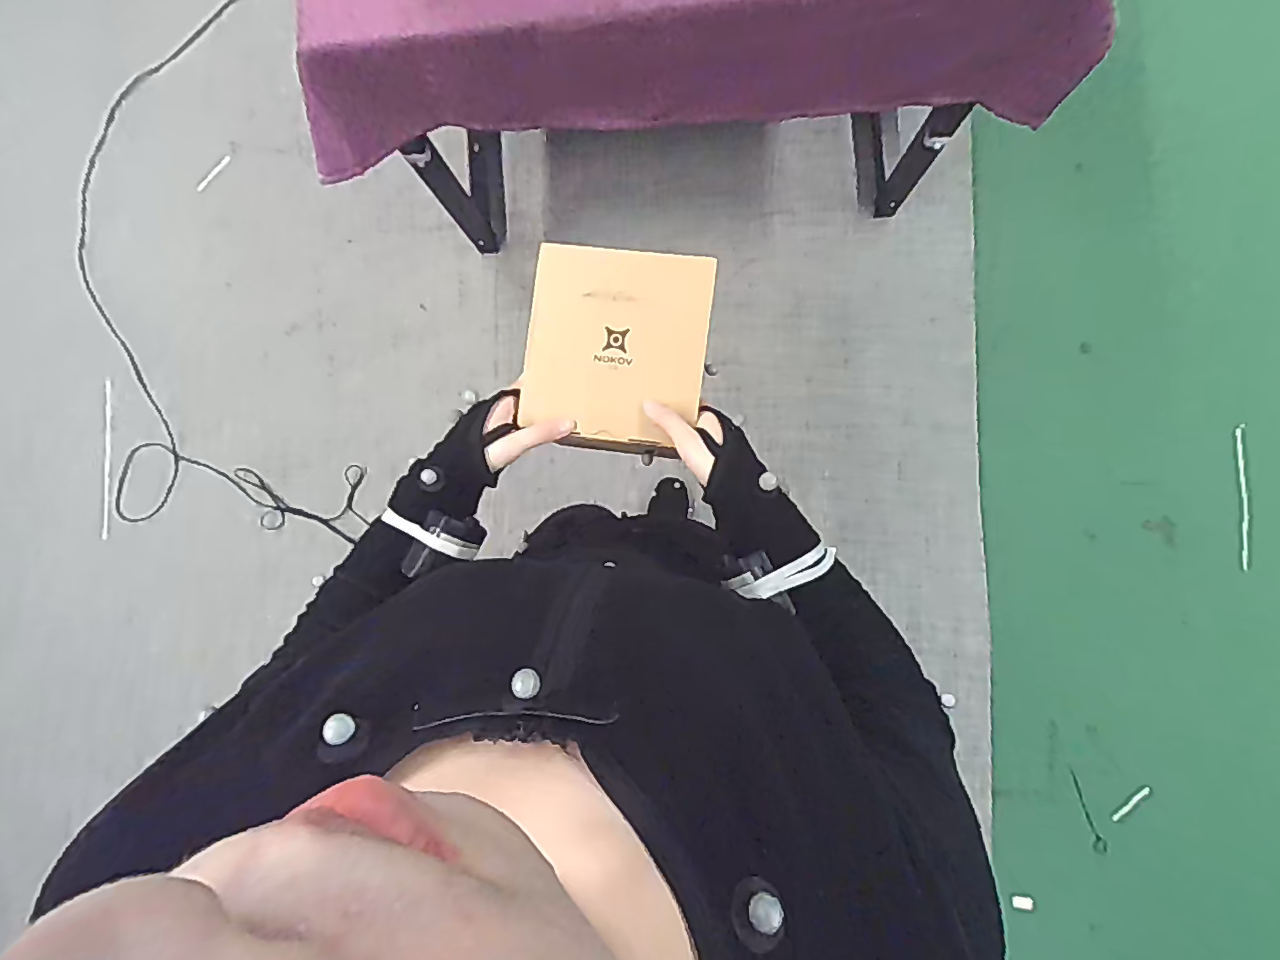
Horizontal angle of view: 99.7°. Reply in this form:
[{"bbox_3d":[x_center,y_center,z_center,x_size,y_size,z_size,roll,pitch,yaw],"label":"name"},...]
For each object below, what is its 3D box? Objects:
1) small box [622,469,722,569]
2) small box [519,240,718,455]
[{"bbox_3d":[0.076,0.102,1.410,0.179,0.176,0.168,-18,57,-31],"label":"small box"},{"bbox_3d":[-0.013,-0.125,0.574,0.168,0.176,0.179,9,89,6],"label":"small box"}]
